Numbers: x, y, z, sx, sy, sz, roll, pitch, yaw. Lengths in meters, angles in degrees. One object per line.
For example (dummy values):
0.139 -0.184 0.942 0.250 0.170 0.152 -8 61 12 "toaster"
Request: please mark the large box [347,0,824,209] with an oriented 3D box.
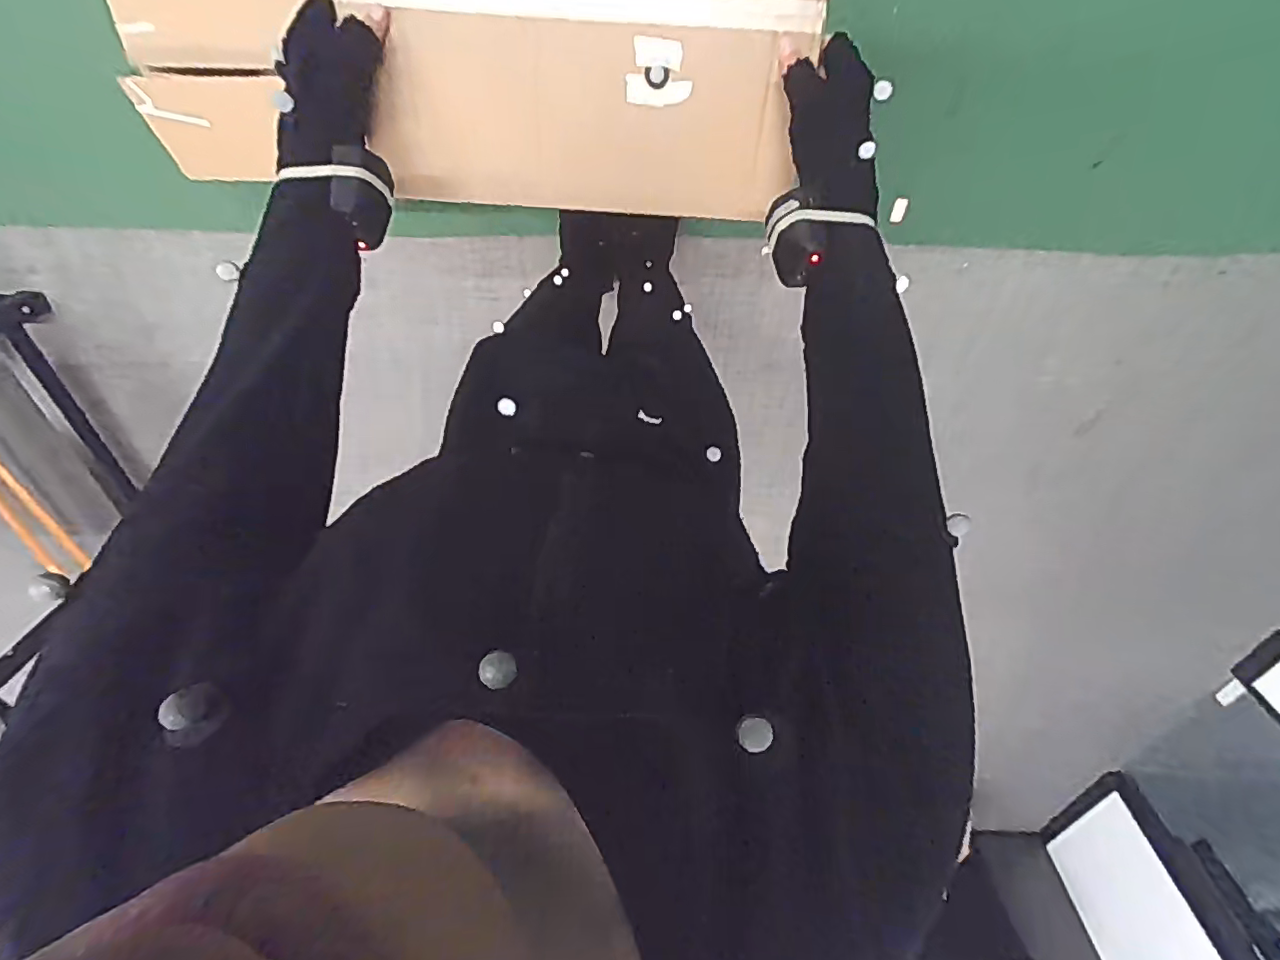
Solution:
-0.046 -0.480 0.572 0.408 0.320 0.320 2 123 -2 "large box"
